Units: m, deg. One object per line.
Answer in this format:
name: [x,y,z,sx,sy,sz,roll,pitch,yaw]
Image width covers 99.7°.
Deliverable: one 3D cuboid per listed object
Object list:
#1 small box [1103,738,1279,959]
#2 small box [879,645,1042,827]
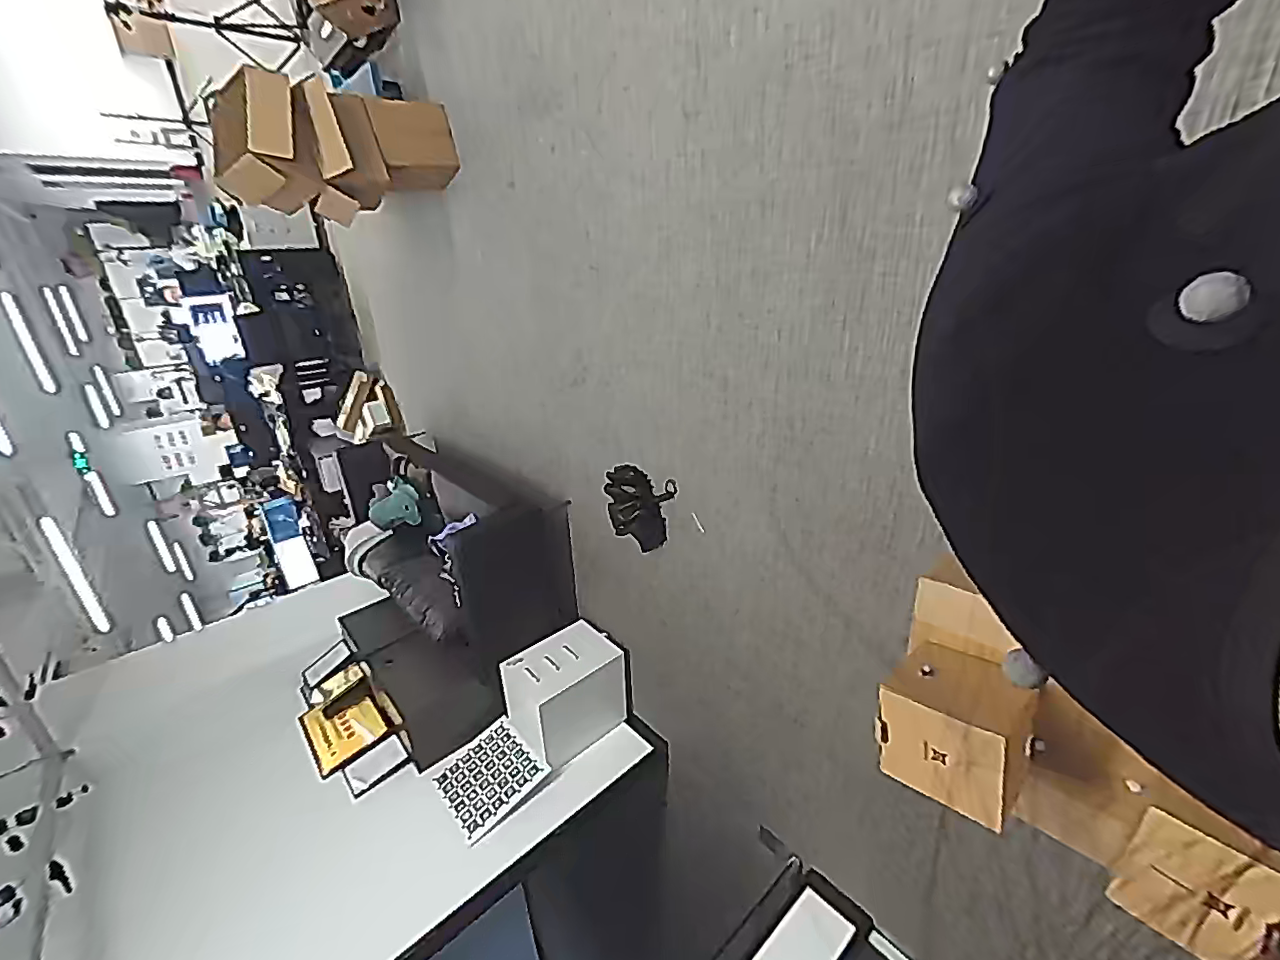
small box: [0.698,0.449,0.638,0.179,0.176,0.168,24,121,45]
small box: [0.505,0.386,0.857,0.179,0.176,0.168,9,112,48]
